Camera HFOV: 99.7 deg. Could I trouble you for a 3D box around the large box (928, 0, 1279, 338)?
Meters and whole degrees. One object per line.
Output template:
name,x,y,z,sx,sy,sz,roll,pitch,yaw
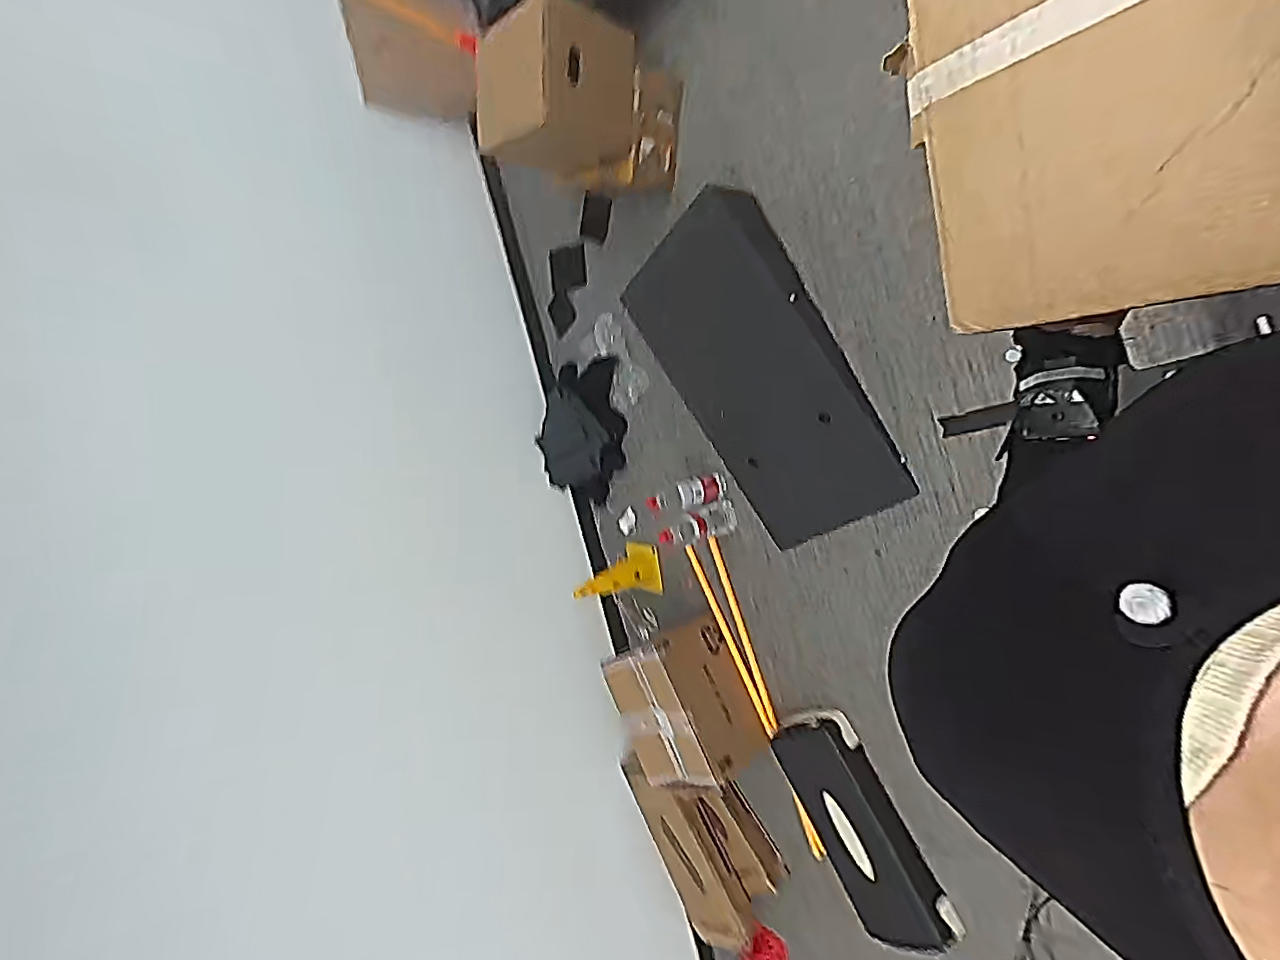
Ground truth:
large box,0.420,-0.286,0.277,0.408,0.320,0.320,2,112,50
